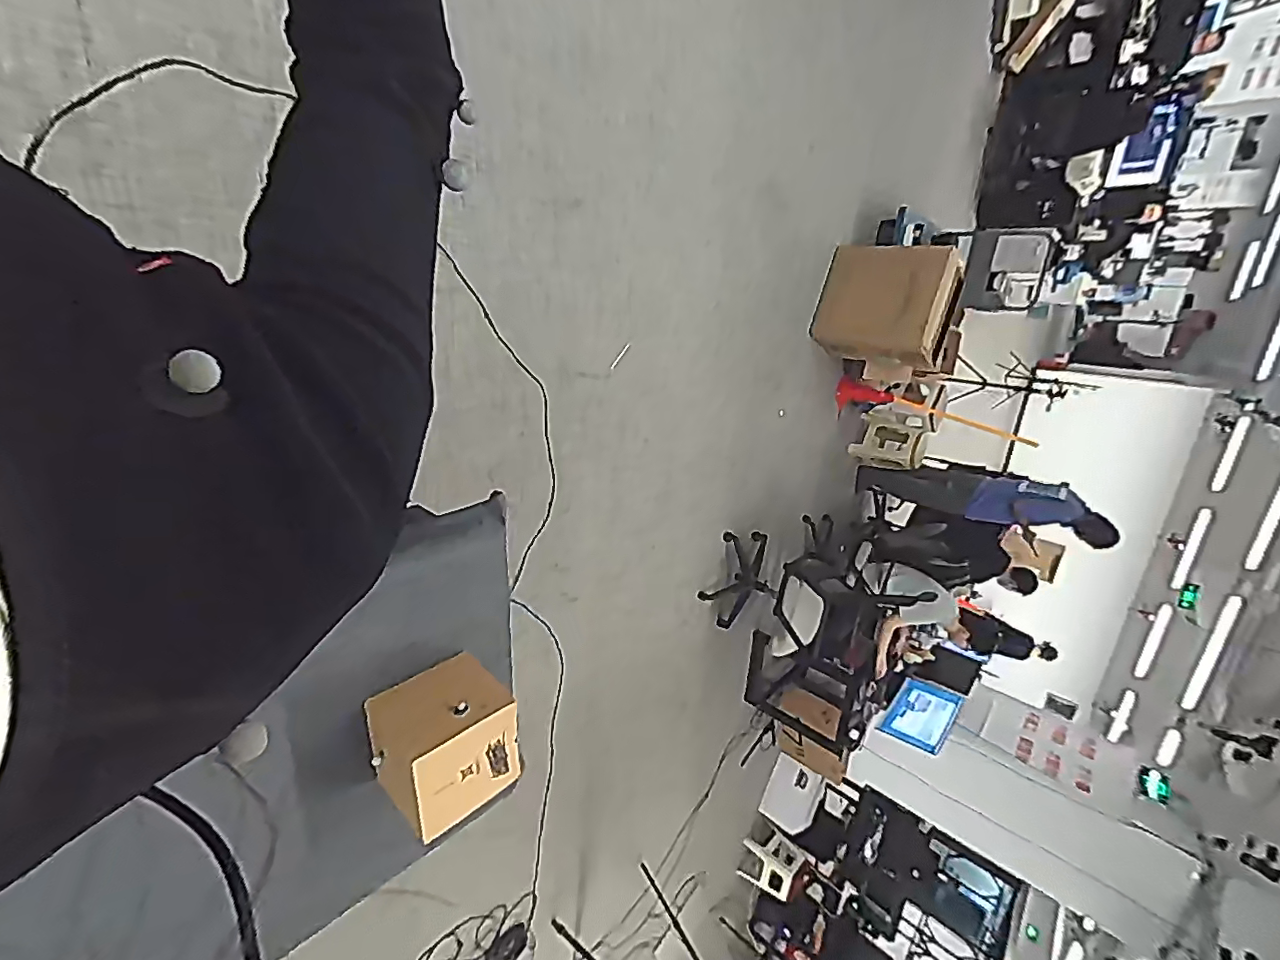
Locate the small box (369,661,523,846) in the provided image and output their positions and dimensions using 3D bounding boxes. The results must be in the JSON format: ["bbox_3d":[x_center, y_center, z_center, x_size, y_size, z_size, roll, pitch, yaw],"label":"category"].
[{"bbox_3d":[-0.314,0.431,0.887,0.179,0.176,0.168,-19,118,-44],"label":"small box"}]
